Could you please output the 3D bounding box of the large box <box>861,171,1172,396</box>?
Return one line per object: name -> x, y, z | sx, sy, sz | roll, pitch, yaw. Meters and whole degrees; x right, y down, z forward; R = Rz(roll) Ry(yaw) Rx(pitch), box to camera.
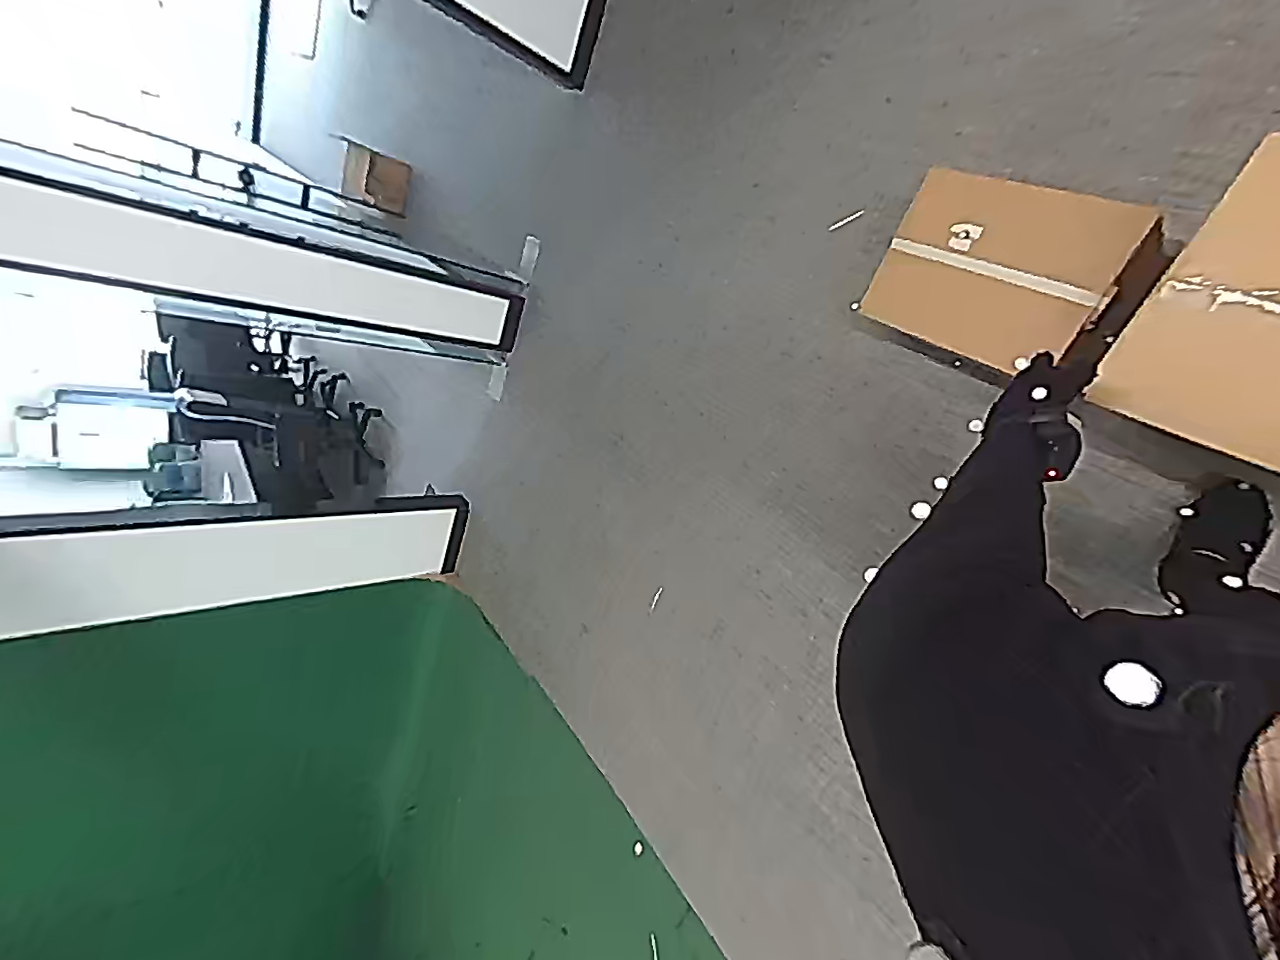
large box -> 0.775, -0.404, 1.141 | 0.408, 0.320, 0.320 | 42, 118, 38
